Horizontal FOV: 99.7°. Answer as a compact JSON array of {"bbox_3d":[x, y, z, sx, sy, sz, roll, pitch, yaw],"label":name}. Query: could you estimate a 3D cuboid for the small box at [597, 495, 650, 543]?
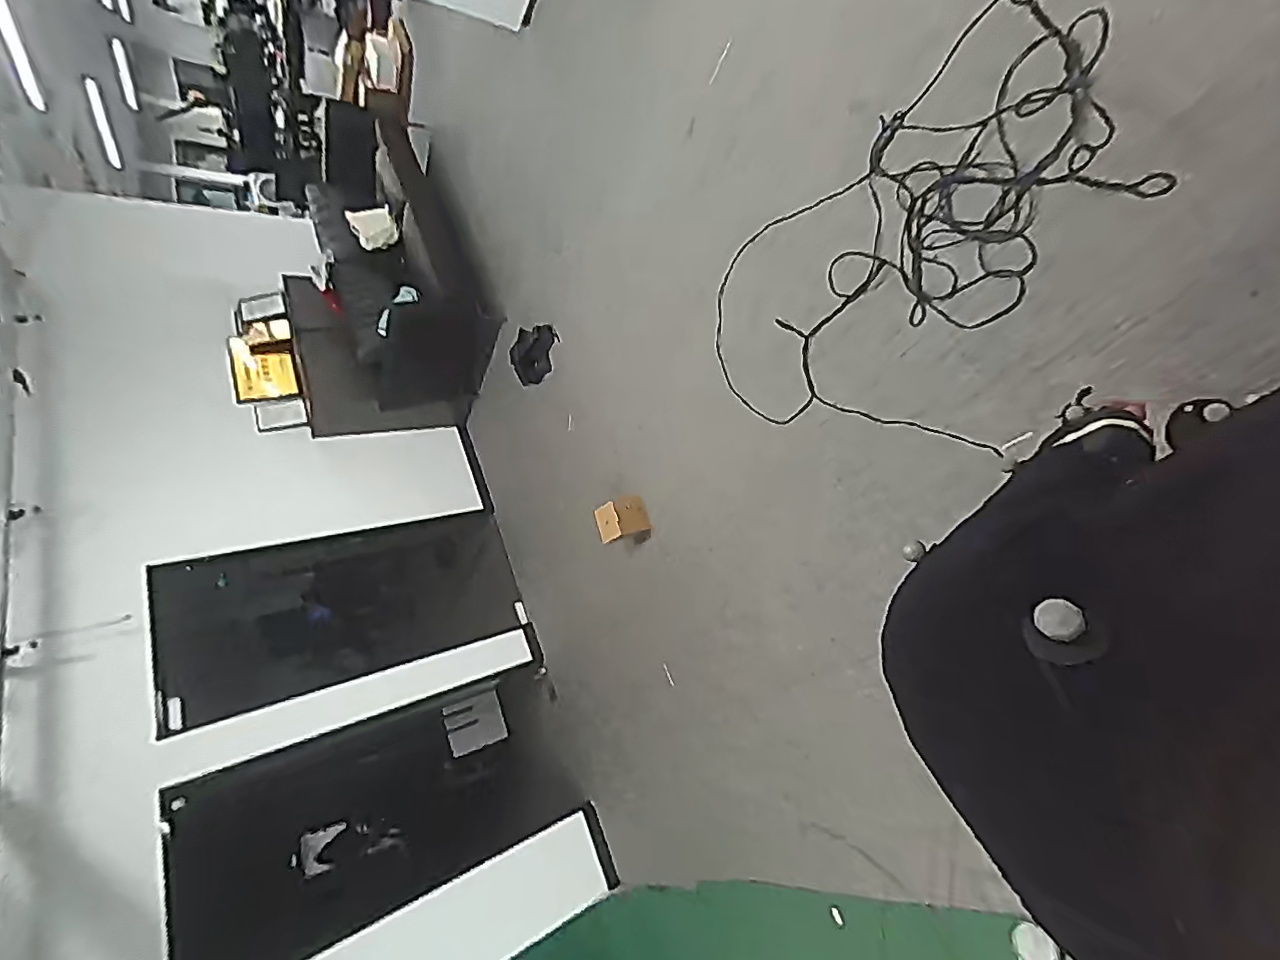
[{"bbox_3d":[-0.071,0.179,2.509,0.179,0.176,0.168,-36,66,54],"label":"small box"}]
